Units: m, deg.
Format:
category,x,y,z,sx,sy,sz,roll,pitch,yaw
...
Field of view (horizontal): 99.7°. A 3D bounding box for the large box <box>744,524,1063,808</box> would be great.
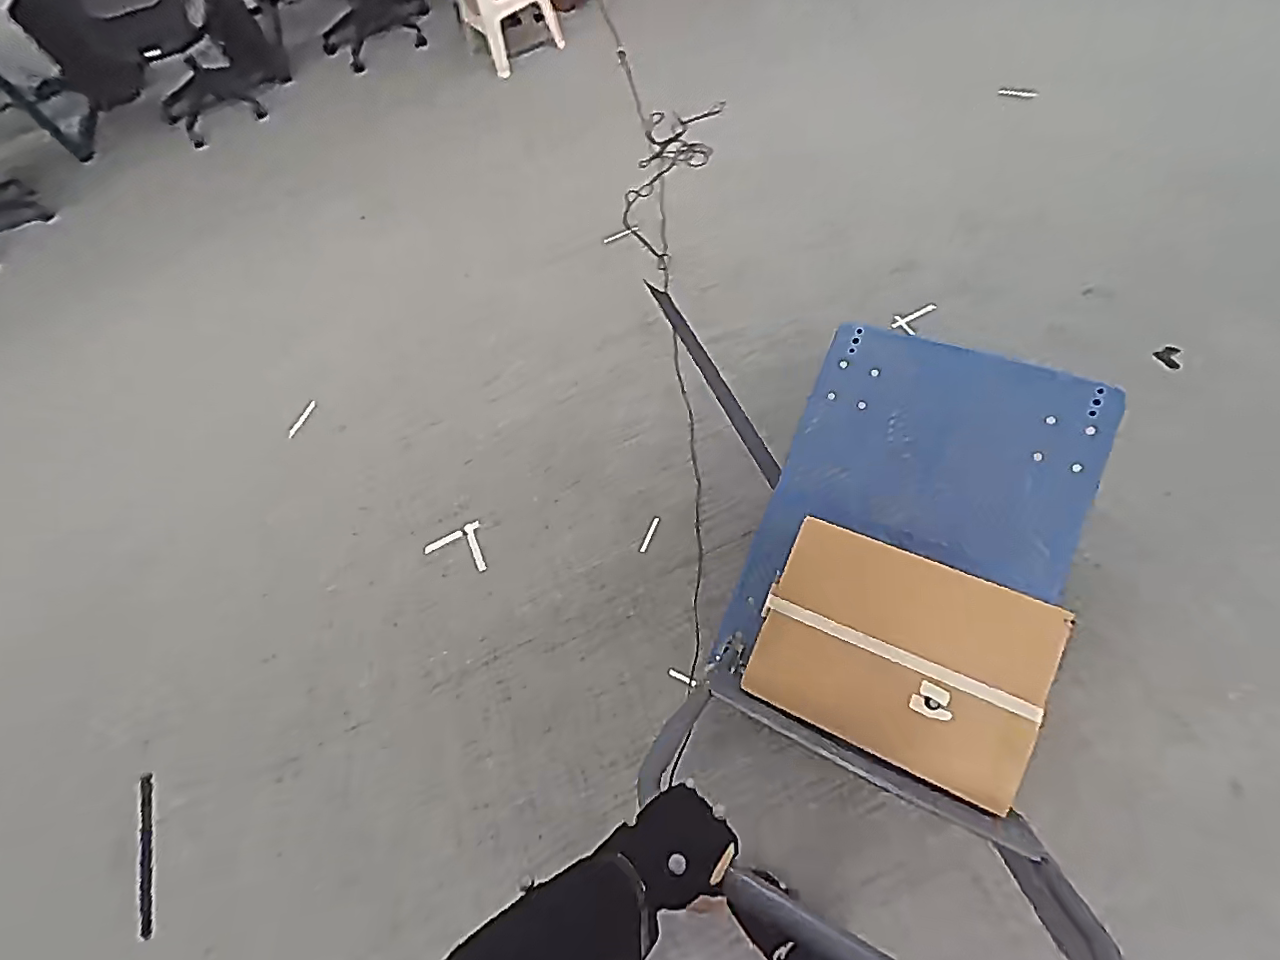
category,x,y,z,sx,sy,sz,roll,pitch,yaw
large box,0.442,0.304,1.000,0.408,0.320,0.320,21,87,18
